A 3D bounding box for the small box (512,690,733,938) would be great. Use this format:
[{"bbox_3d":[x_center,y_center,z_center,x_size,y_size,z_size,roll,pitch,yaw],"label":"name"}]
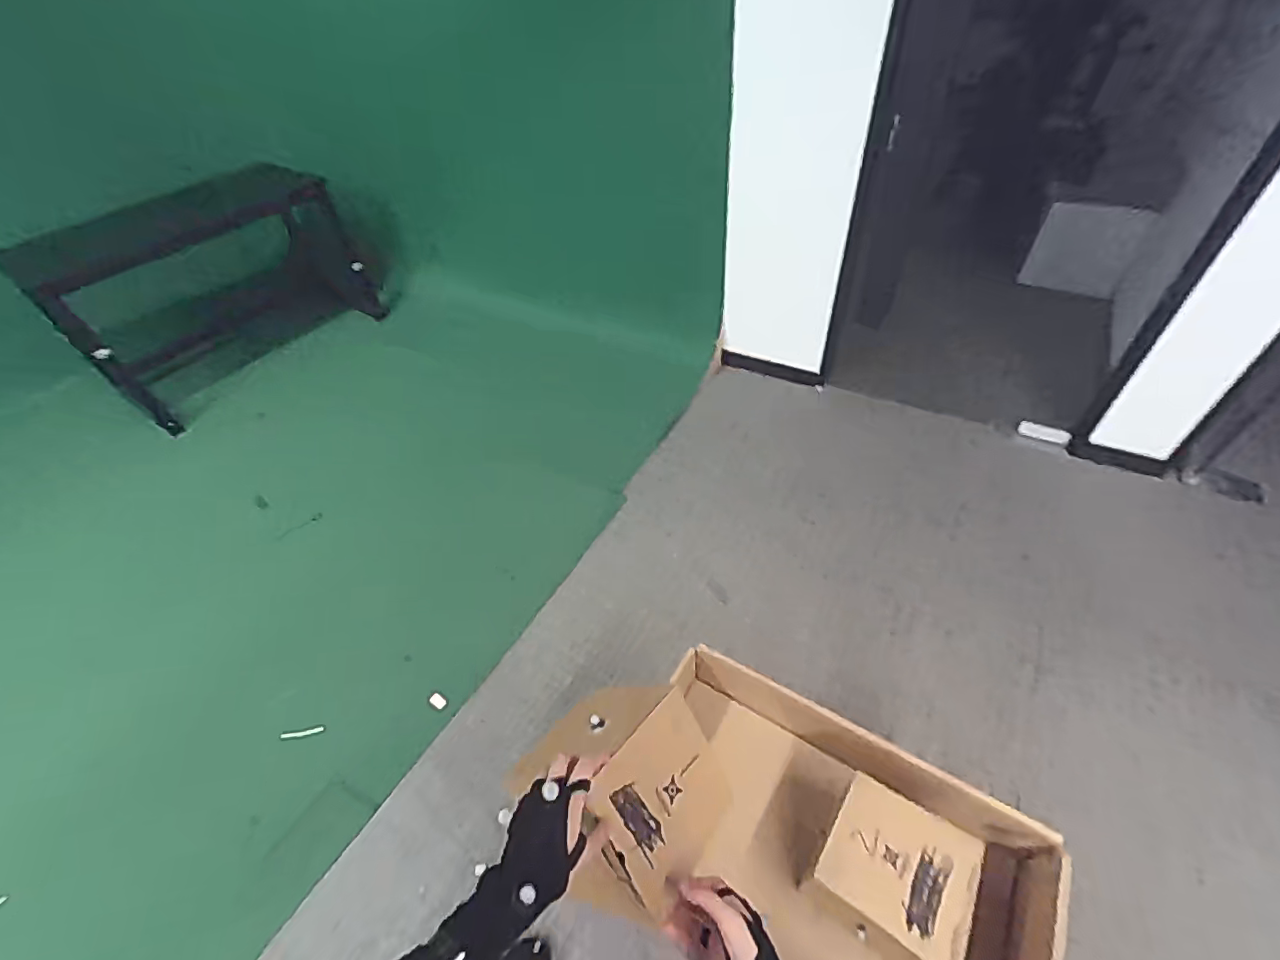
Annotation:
[{"bbox_3d":[-0.028,0.378,0.642,0.176,0.168,0.179,-27,3,42],"label":"small box"}]
